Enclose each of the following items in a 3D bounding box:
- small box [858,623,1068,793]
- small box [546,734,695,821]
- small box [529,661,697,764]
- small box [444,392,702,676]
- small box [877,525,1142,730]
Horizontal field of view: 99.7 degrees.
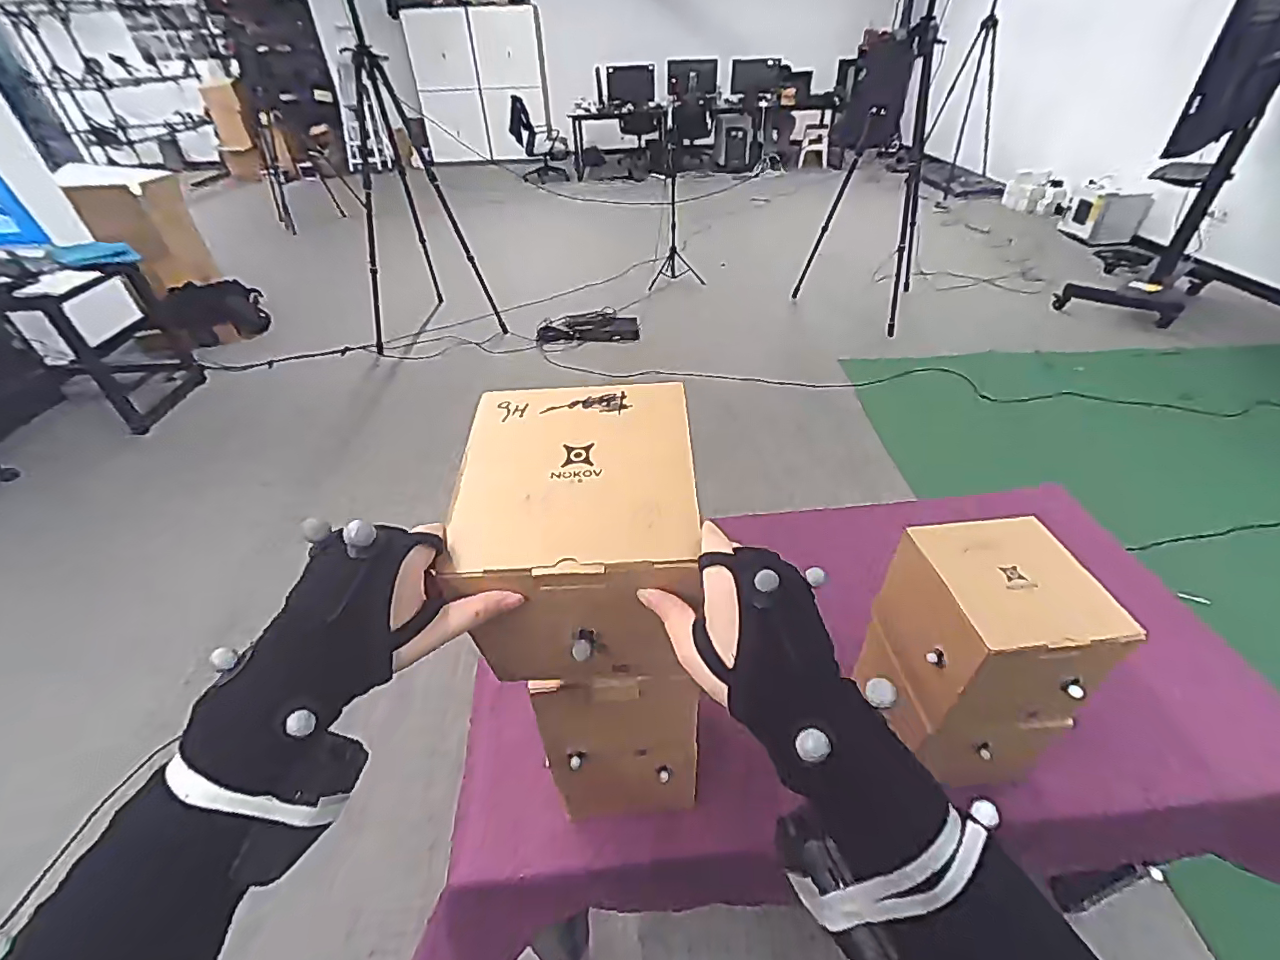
[{"bbox_3d":[0.415,0.308,0.740,0.179,0.176,0.168,-3,40,-1],"label":"small box"},{"bbox_3d":[-0.024,0.337,0.729,0.179,0.176,0.168,-4,39,-3],"label":"small box"},{"bbox_3d":[-0.027,0.208,0.627,0.168,0.176,0.179,-4,38,-3],"label":"small box"},{"bbox_3d":[-0.038,0.051,0.445,0.168,0.176,0.179,-2,49,1],"label":"small box"},{"bbox_3d":[0.410,0.177,0.641,0.168,0.176,0.179,-4,38,-3],"label":"small box"}]
